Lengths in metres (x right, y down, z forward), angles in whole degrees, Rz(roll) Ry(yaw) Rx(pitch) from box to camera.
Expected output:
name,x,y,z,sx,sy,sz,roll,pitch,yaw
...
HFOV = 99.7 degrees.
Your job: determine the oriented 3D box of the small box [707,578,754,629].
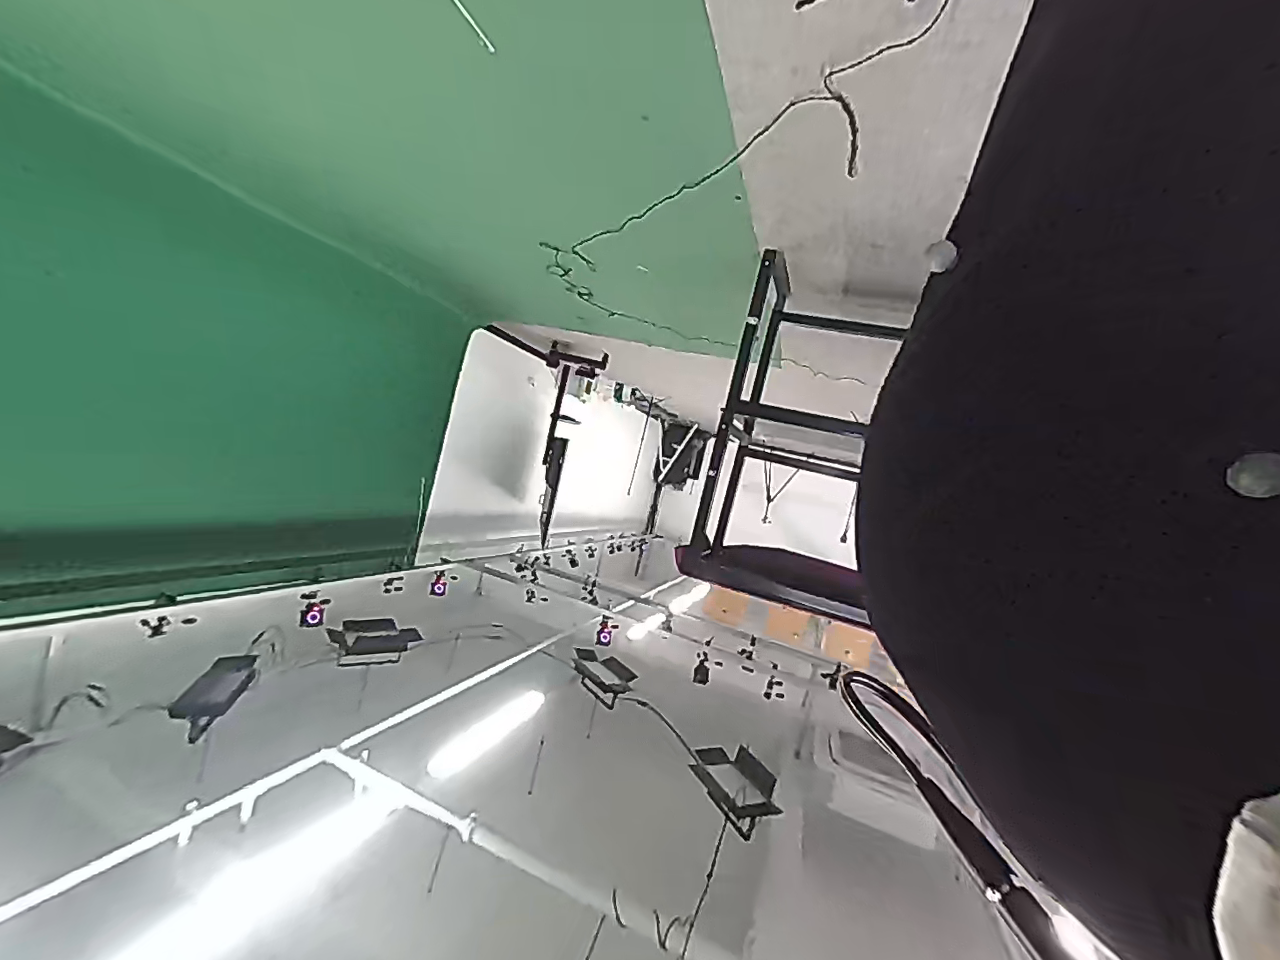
name,x,y,z,sx,sy,sz,roll,pitch,yaw
small box,0.414,0.551,2.429,0.179,0.176,0.168,13,180,16
